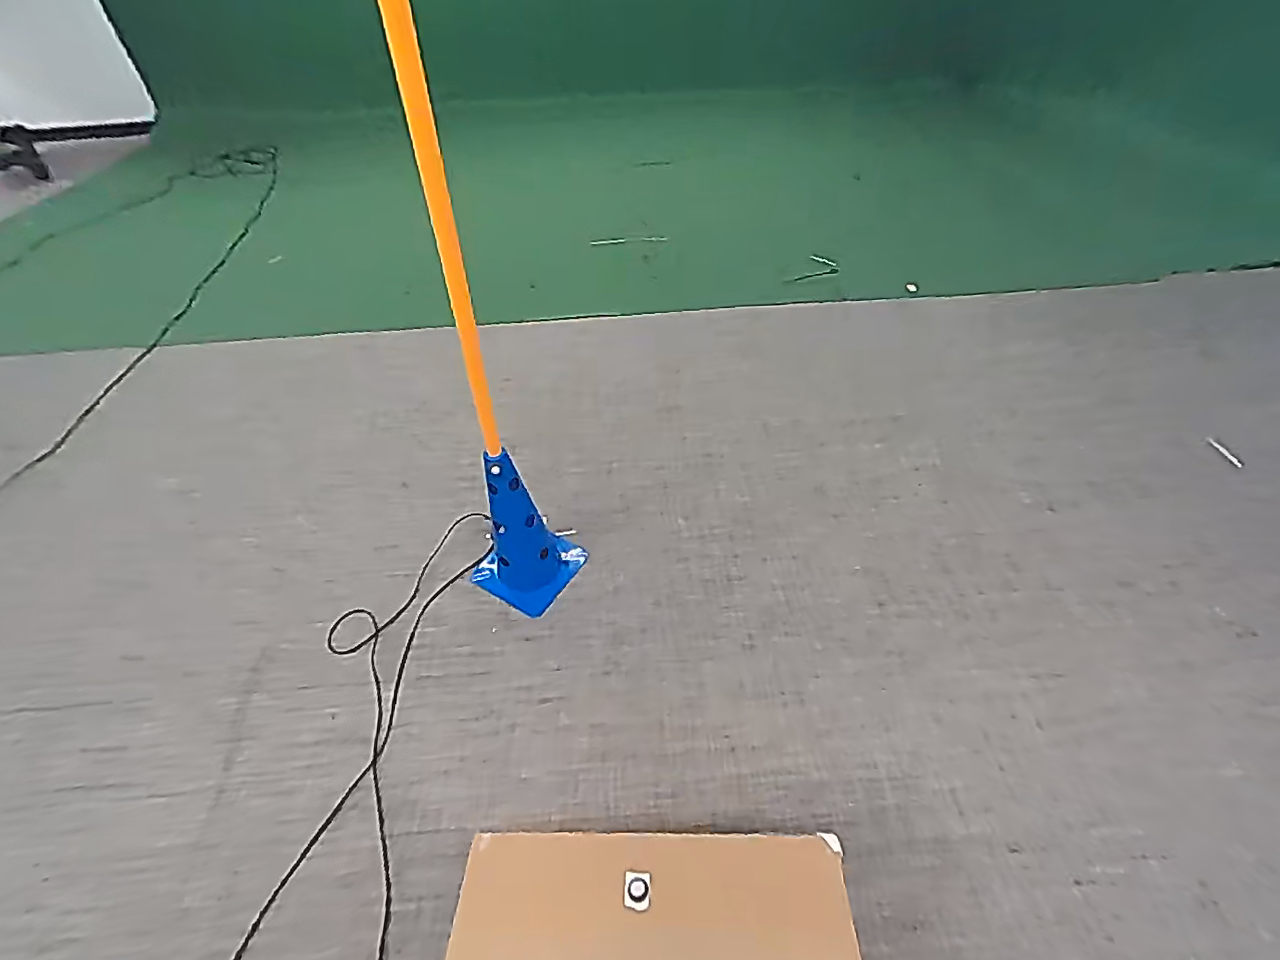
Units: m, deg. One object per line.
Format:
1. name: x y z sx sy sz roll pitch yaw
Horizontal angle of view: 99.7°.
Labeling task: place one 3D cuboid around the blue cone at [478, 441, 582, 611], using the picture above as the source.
1. blue cone: -0.246 0.073 1.084 0.192 0.380 0.193 21 49 21
